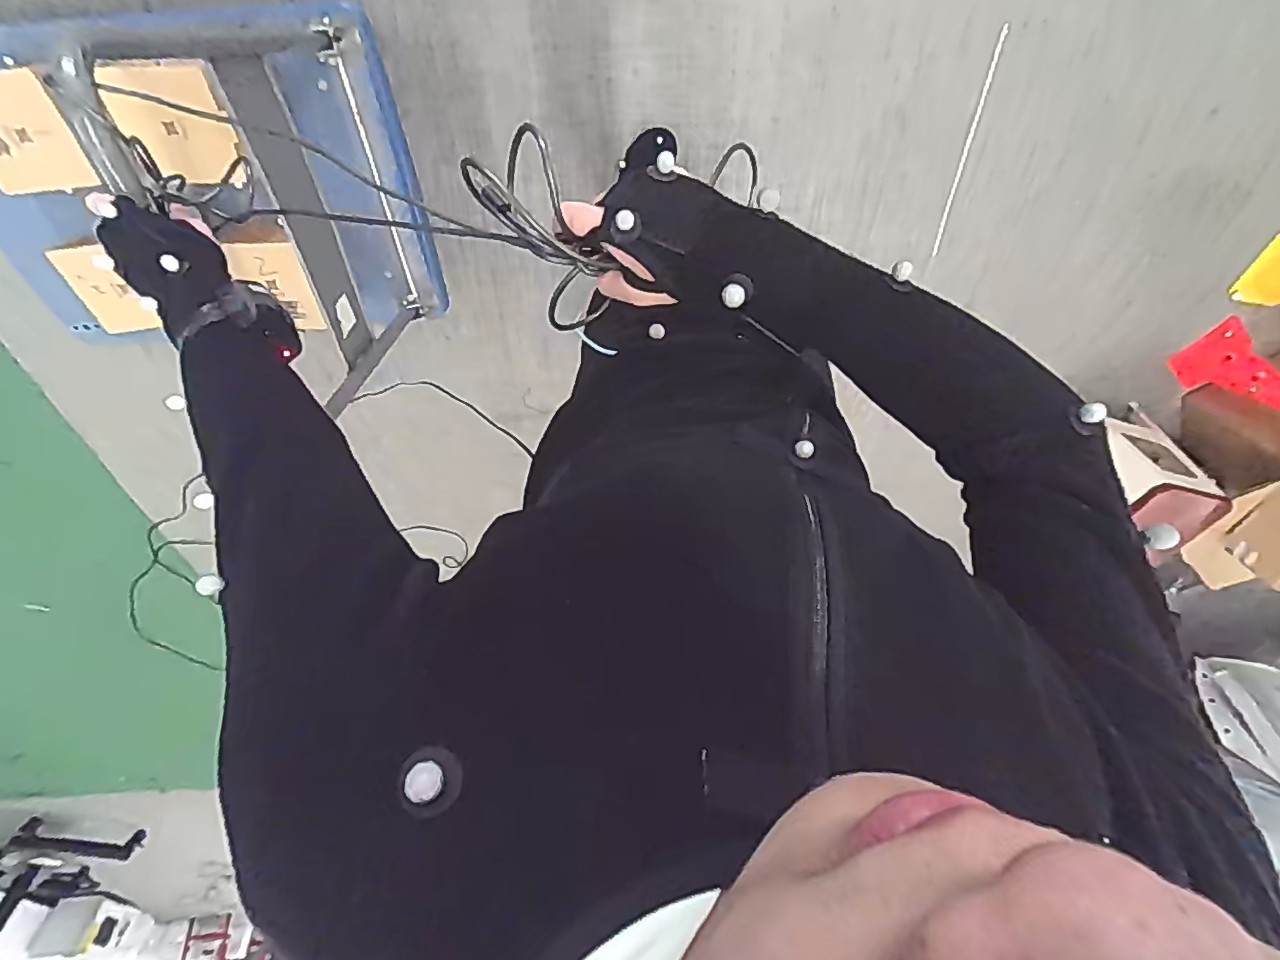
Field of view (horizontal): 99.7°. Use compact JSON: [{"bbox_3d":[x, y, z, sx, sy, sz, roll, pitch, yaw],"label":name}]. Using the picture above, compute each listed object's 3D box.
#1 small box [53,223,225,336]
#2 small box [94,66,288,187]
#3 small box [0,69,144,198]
[{"bbox_3d":[-1.012,-0.419,1.121,0.179,0.176,0.168,-8,130,1],"label":"small box"},{"bbox_3d":[-0.780,-0.632,0.966,0.179,0.176,0.168,-4,130,-3],"label":"small box"},{"bbox_3d":[-1.026,-0.614,0.955,0.179,0.176,0.168,-7,131,-1],"label":"small box"}]
